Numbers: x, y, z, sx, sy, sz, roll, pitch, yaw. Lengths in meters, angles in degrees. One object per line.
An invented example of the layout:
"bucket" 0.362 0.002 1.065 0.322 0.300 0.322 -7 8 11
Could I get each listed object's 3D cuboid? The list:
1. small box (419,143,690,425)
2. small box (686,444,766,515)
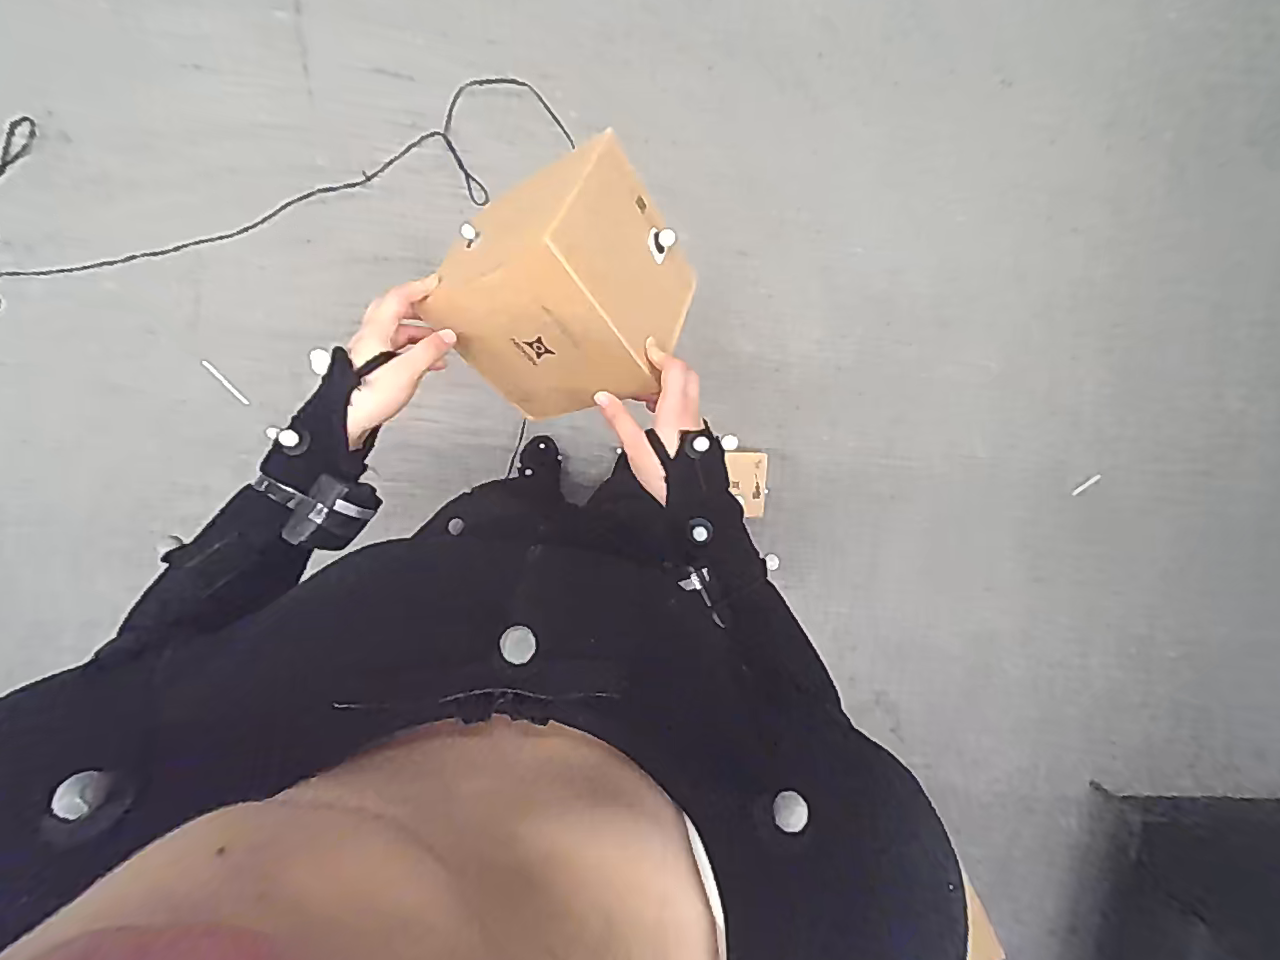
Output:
"small box" -0.072 -0.182 0.535 0.168 0.179 0.176 44 50 -39
"small box" 0.221 -0.007 1.441 0.179 0.176 0.168 2 98 -6
